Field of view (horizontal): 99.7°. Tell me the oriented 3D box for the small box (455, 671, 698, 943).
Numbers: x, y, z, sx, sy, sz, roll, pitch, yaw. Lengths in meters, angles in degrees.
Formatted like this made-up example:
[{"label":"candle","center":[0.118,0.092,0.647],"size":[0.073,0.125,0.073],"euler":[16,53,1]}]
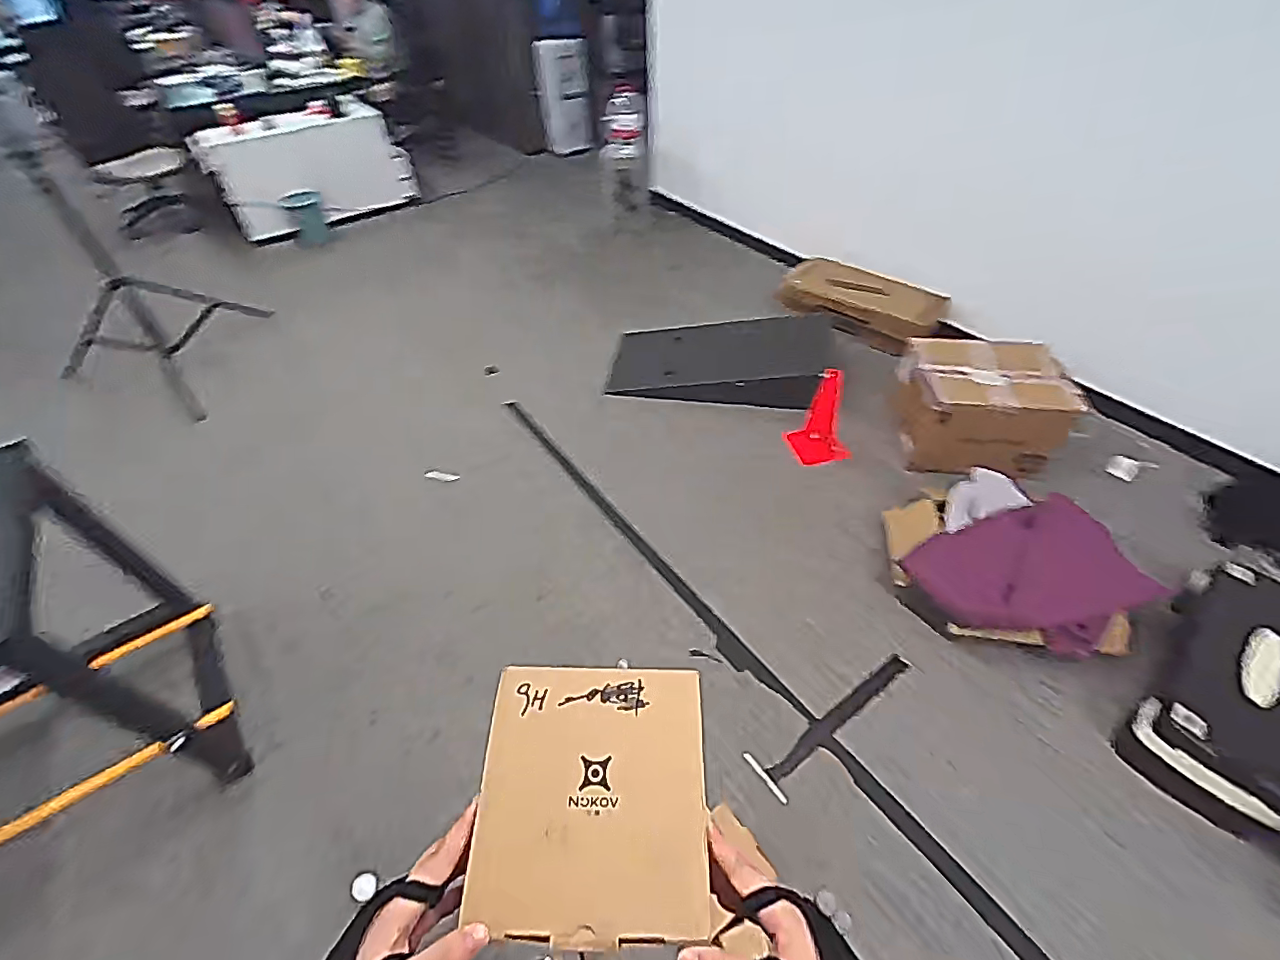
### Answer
[{"label":"small box","center":[-0.041,0.278,0.468],"size":[0.168,0.176,0.179],"euler":[0,53,-1]}]
